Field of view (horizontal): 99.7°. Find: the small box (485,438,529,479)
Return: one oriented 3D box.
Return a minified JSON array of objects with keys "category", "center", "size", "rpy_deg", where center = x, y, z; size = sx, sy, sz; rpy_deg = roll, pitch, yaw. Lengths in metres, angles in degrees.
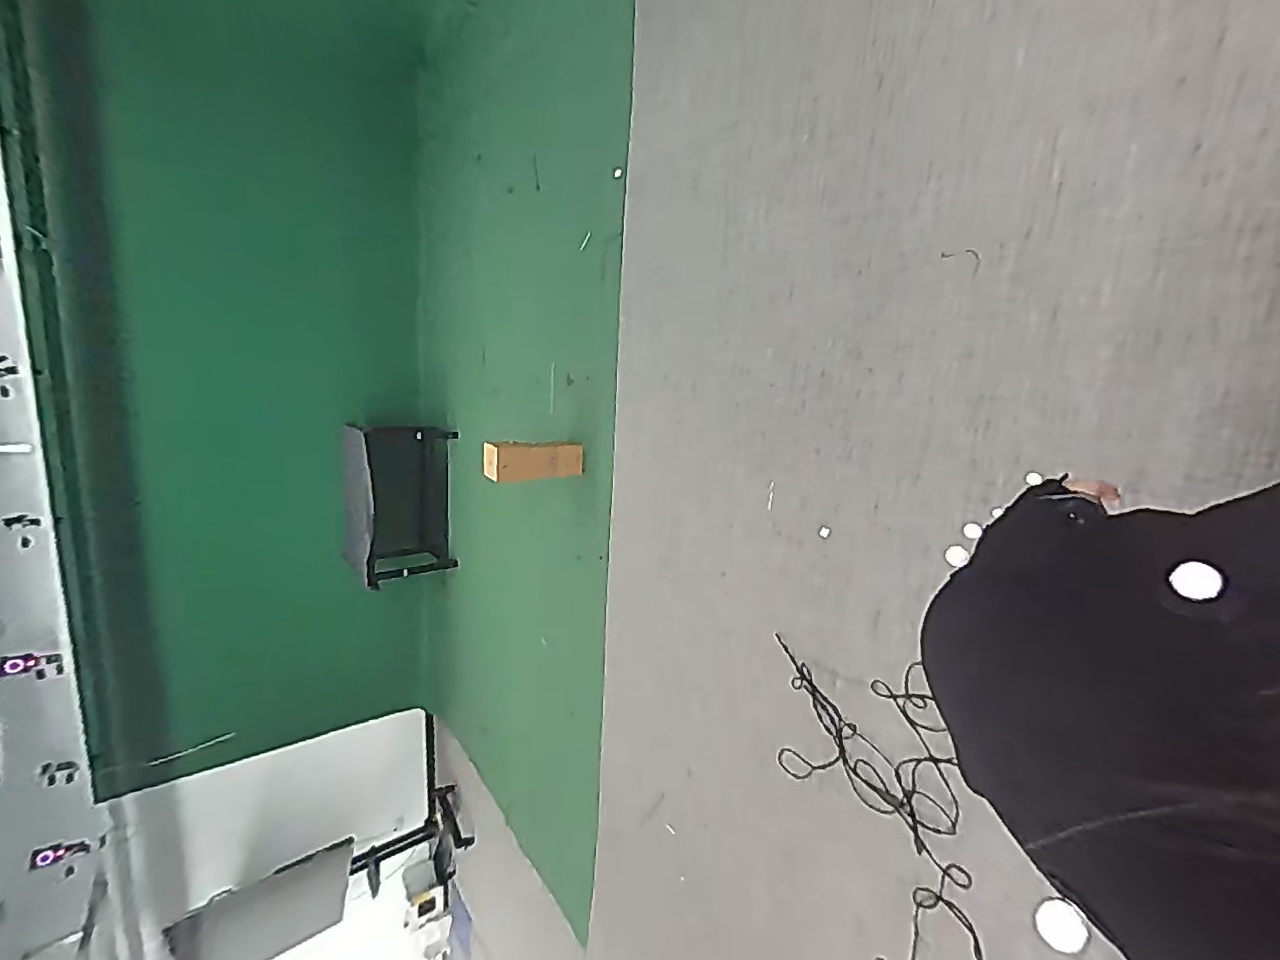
[{"category":"small box","center":[-0.681,-0.114,2.762],"size":[0.168,0.176,0.179],"rpy_deg":[22,112,49]}]

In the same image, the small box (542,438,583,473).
[{"category":"small box","center":[-0.423,-0.140,2.965],"size":[0.179,0.176,0.168],"rpy_deg":[18,109,51]}]
